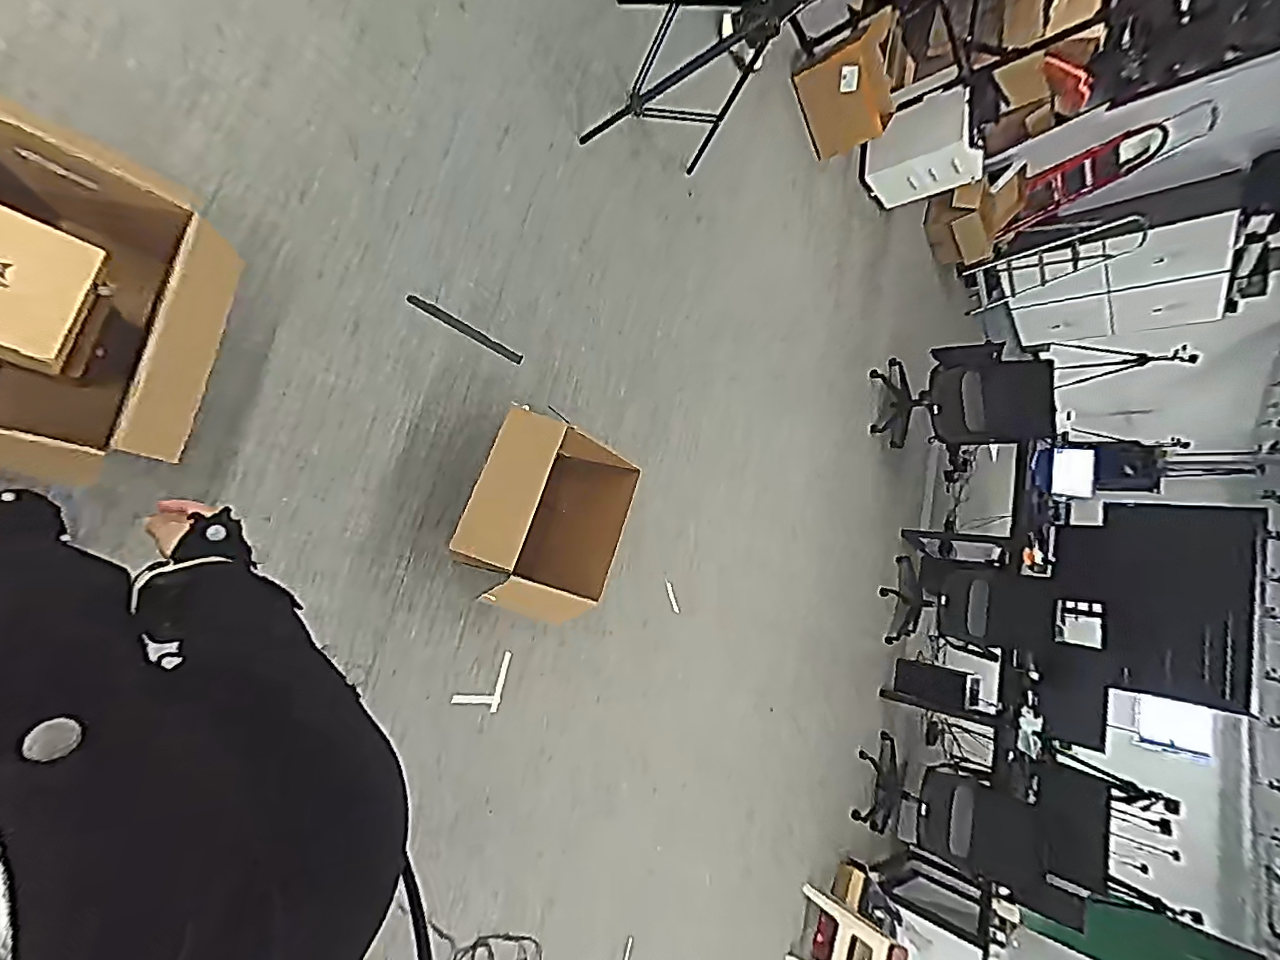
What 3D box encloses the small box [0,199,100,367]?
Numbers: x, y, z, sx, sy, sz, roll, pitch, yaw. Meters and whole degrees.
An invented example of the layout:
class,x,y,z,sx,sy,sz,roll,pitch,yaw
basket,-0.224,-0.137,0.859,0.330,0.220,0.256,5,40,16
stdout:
class,x,y,z,sx,sy,sz,roll,pitch,yaw
small box,-0.883,-0.273,0.735,0.168,0.176,0.179,25,74,-43
